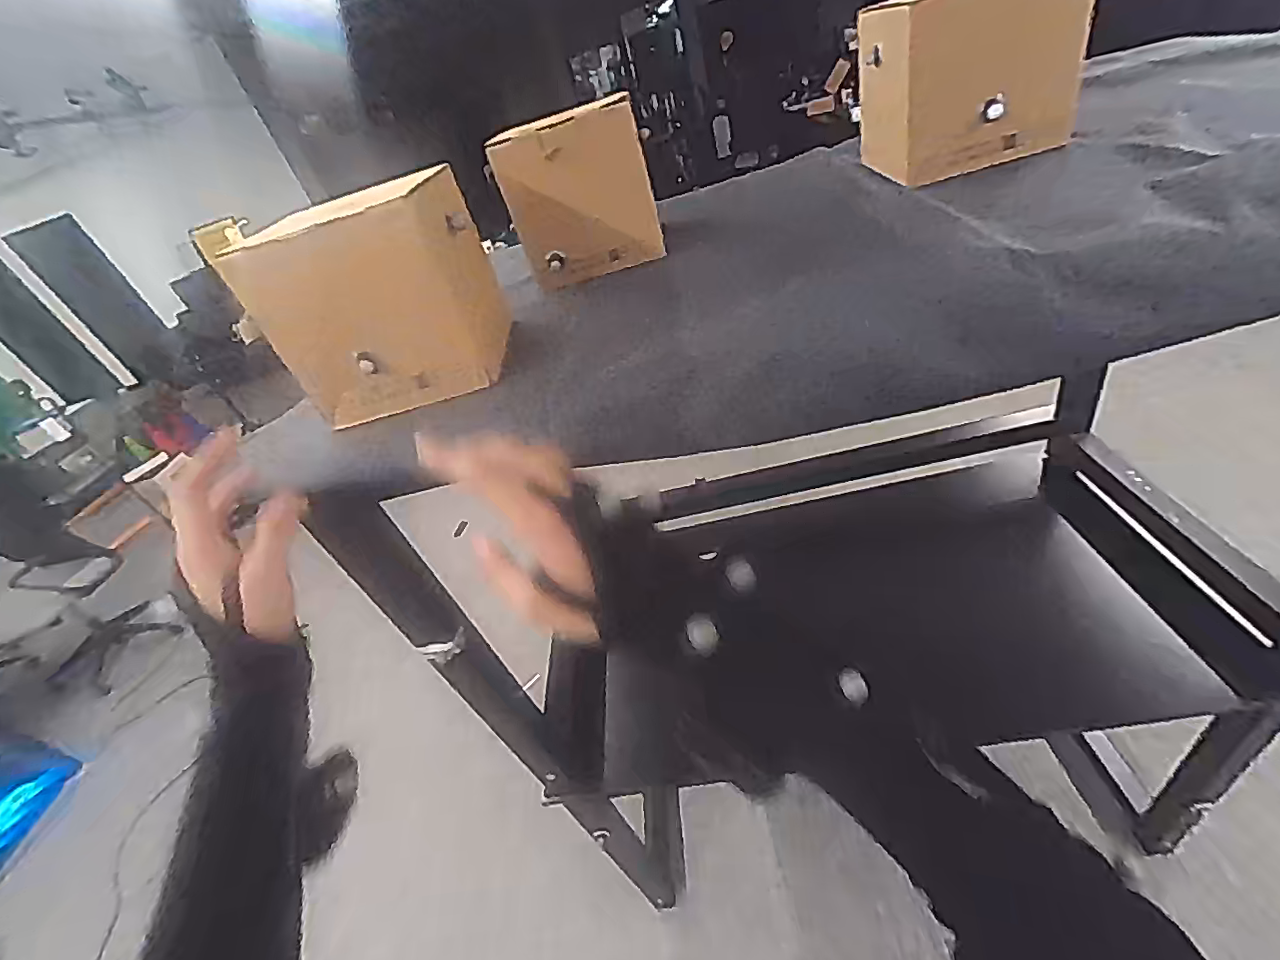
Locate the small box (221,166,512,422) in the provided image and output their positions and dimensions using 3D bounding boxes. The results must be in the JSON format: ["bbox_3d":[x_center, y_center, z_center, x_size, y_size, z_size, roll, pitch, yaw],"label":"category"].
[{"bbox_3d":[-0.237,-0.182,0.529,0.168,0.176,0.179,-15,37,5],"label":"small box"}]

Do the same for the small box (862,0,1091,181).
[{"bbox_3d":[0.360,-0.459,0.612,0.168,0.176,0.179,-12,37,11],"label":"small box"}]

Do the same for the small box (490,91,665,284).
[{"bbox_3d":[-0.067,-0.370,0.694,0.168,0.176,0.179,-13,36,9],"label":"small box"}]
